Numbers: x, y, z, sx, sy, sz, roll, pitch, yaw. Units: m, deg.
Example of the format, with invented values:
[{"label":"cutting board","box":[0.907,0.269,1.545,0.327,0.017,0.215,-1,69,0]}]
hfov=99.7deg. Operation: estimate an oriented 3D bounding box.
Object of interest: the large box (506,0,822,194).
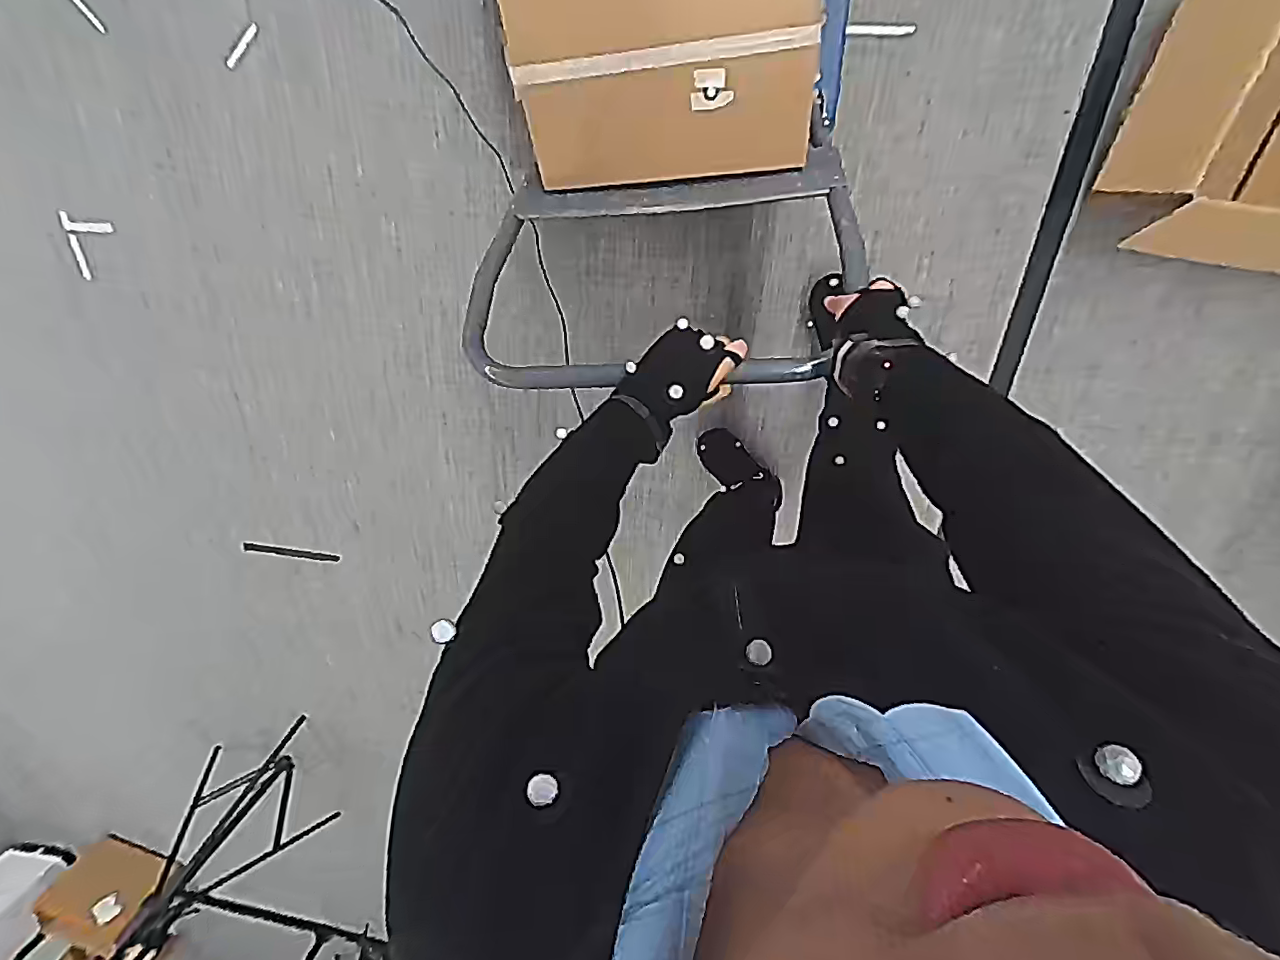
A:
[{"label":"large box","box":[0.047,-0.675,0.822,0.408,0.320,0.320,-1,139,9]}]
